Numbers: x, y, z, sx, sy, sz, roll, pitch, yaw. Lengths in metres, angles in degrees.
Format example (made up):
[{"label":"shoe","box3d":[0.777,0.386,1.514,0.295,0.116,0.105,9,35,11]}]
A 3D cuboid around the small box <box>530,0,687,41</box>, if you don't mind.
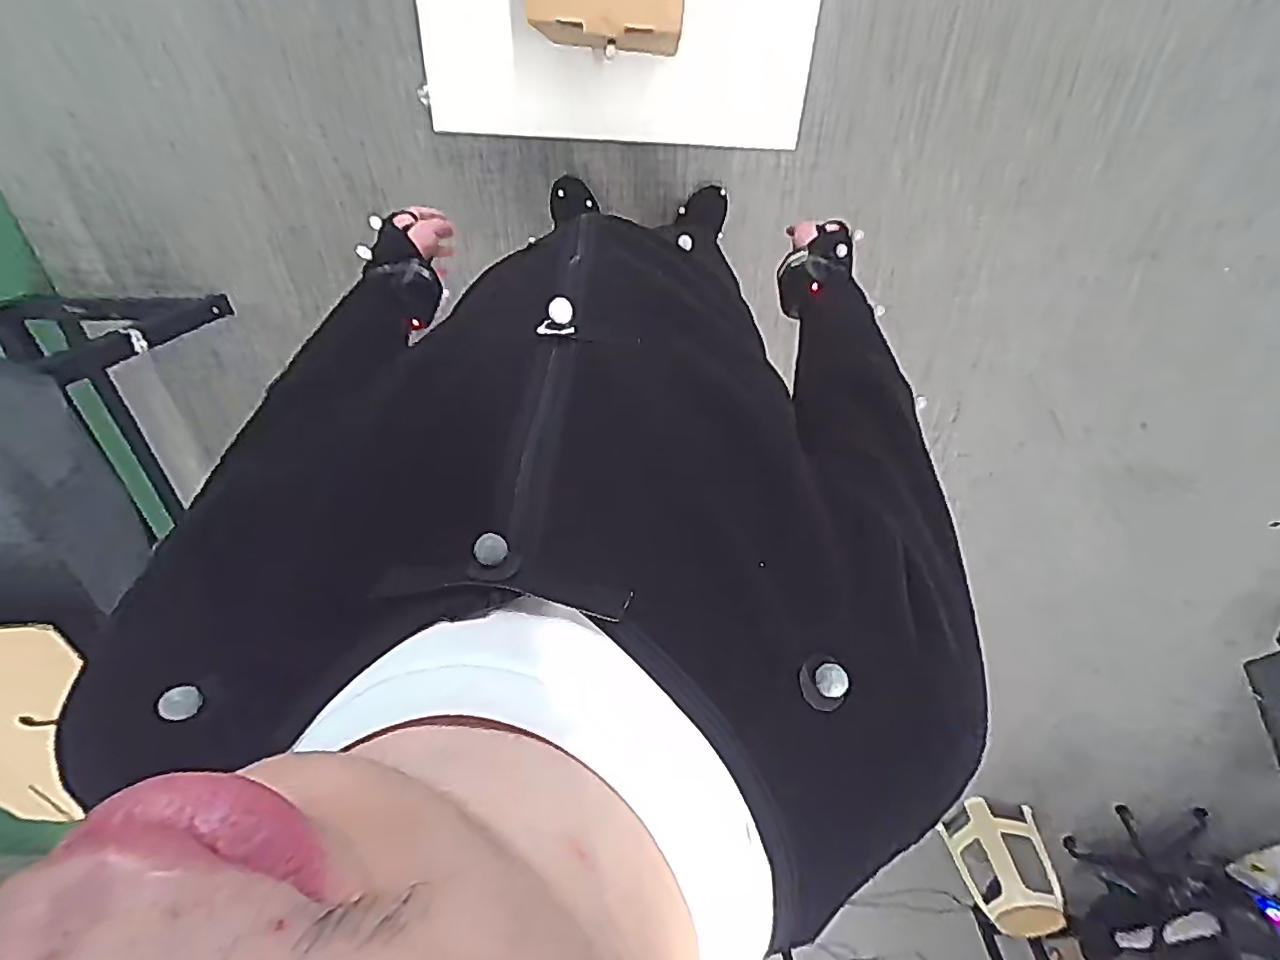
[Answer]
[{"label":"small box","box3d":[-0.026,-0.597,0.585,0.168,0.176,0.179,3,123,0]}]
